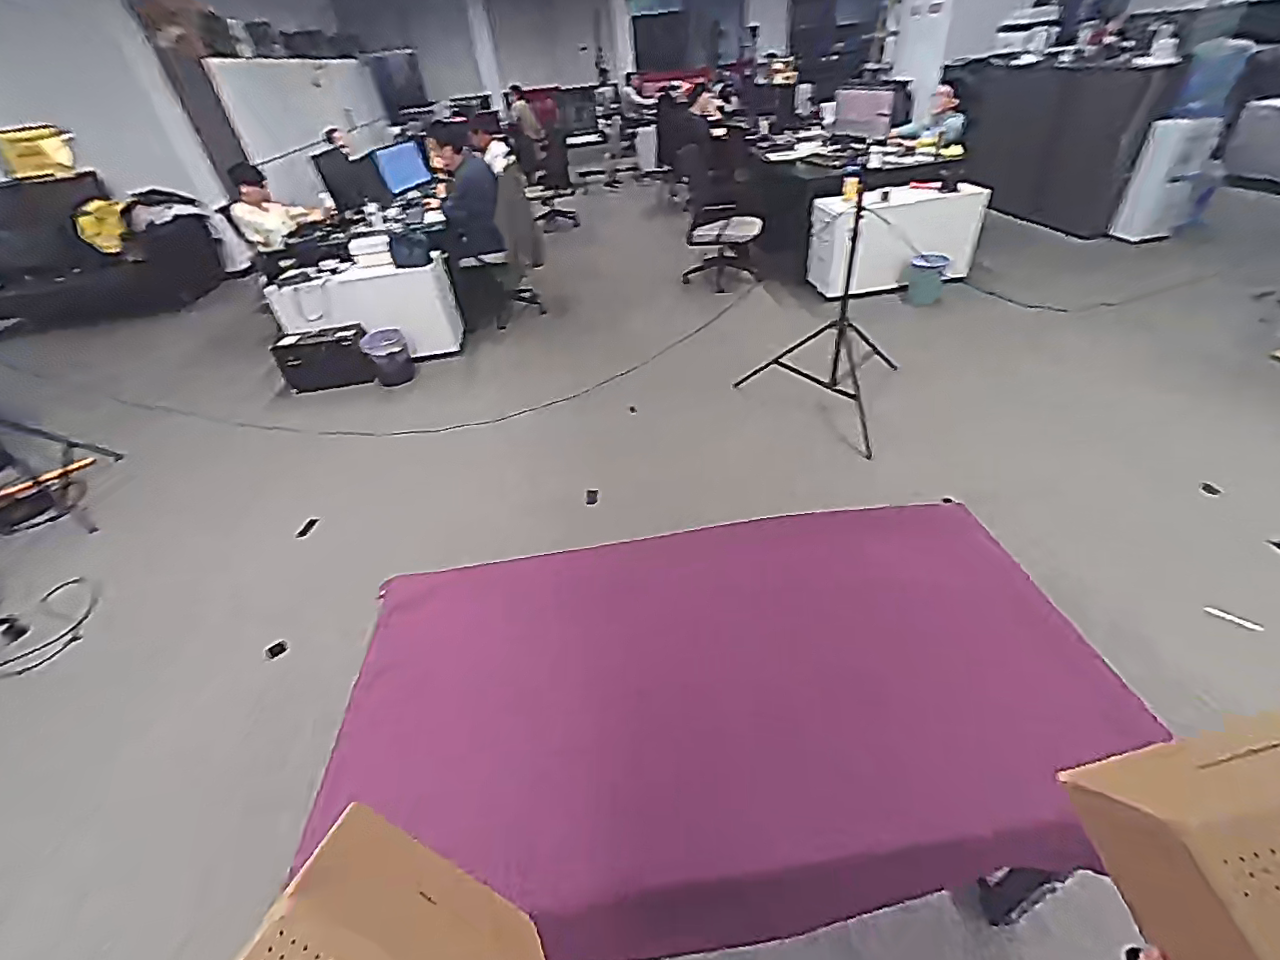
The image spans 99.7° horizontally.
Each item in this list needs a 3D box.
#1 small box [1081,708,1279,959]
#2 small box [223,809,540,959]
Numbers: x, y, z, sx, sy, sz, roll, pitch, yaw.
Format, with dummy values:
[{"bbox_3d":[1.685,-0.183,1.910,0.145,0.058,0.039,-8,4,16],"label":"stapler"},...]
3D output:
[{"bbox_3d":[0.380,0.223,0.273,0.168,0.179,0.176,-23,63,12],"label":"small box"},{"bbox_3d":[-0.161,0.313,0.289,0.168,0.179,0.176,37,65,-3],"label":"small box"}]
